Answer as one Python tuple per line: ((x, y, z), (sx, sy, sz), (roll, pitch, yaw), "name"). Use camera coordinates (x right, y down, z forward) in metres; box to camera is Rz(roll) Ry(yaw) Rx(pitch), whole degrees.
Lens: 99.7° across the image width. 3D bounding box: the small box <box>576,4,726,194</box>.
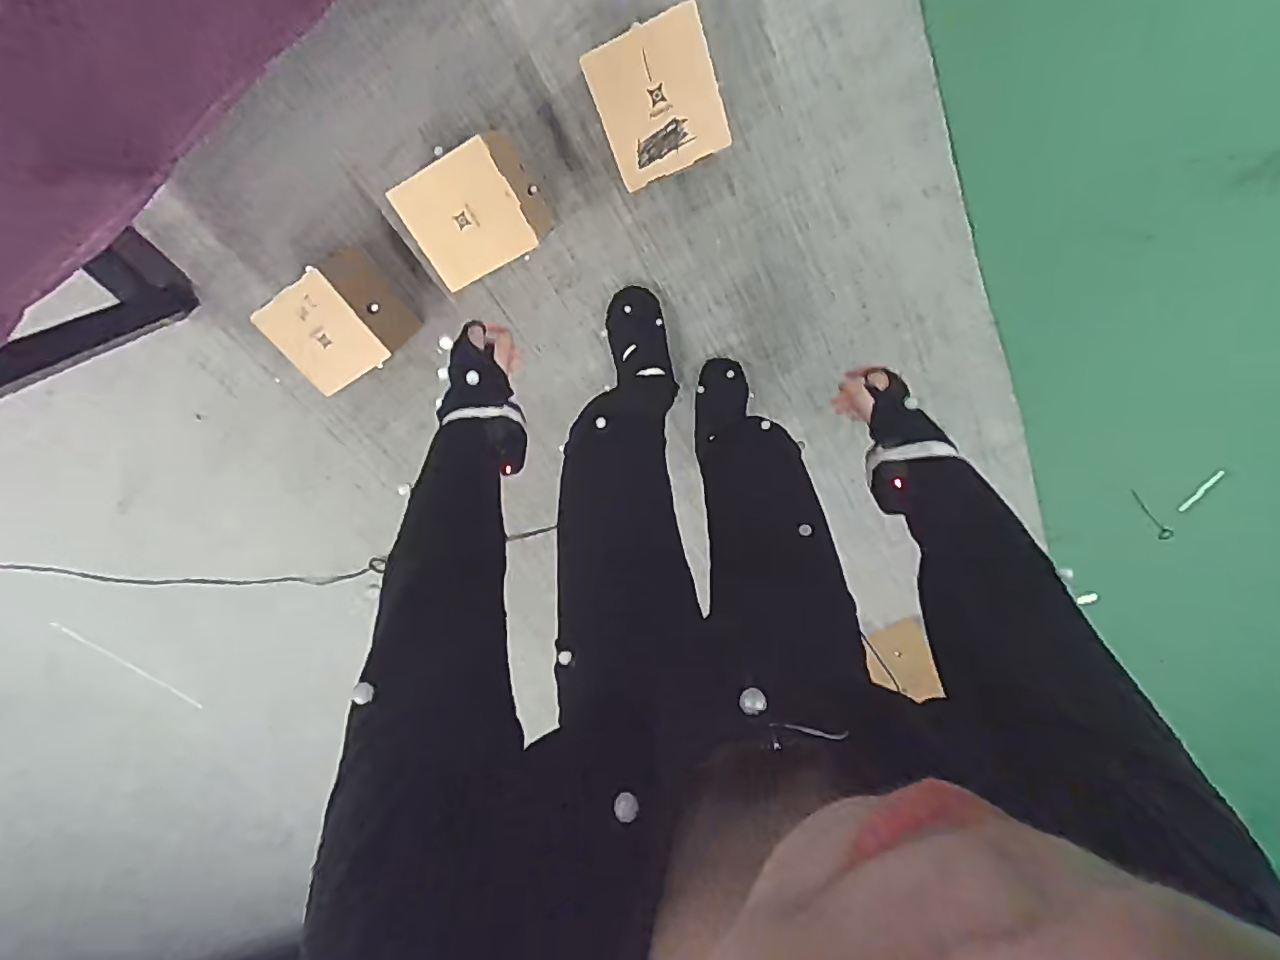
((0.022, -0.562, 0.814), (0.168, 0.176, 0.179), (-18, 121, 12), "small box")
